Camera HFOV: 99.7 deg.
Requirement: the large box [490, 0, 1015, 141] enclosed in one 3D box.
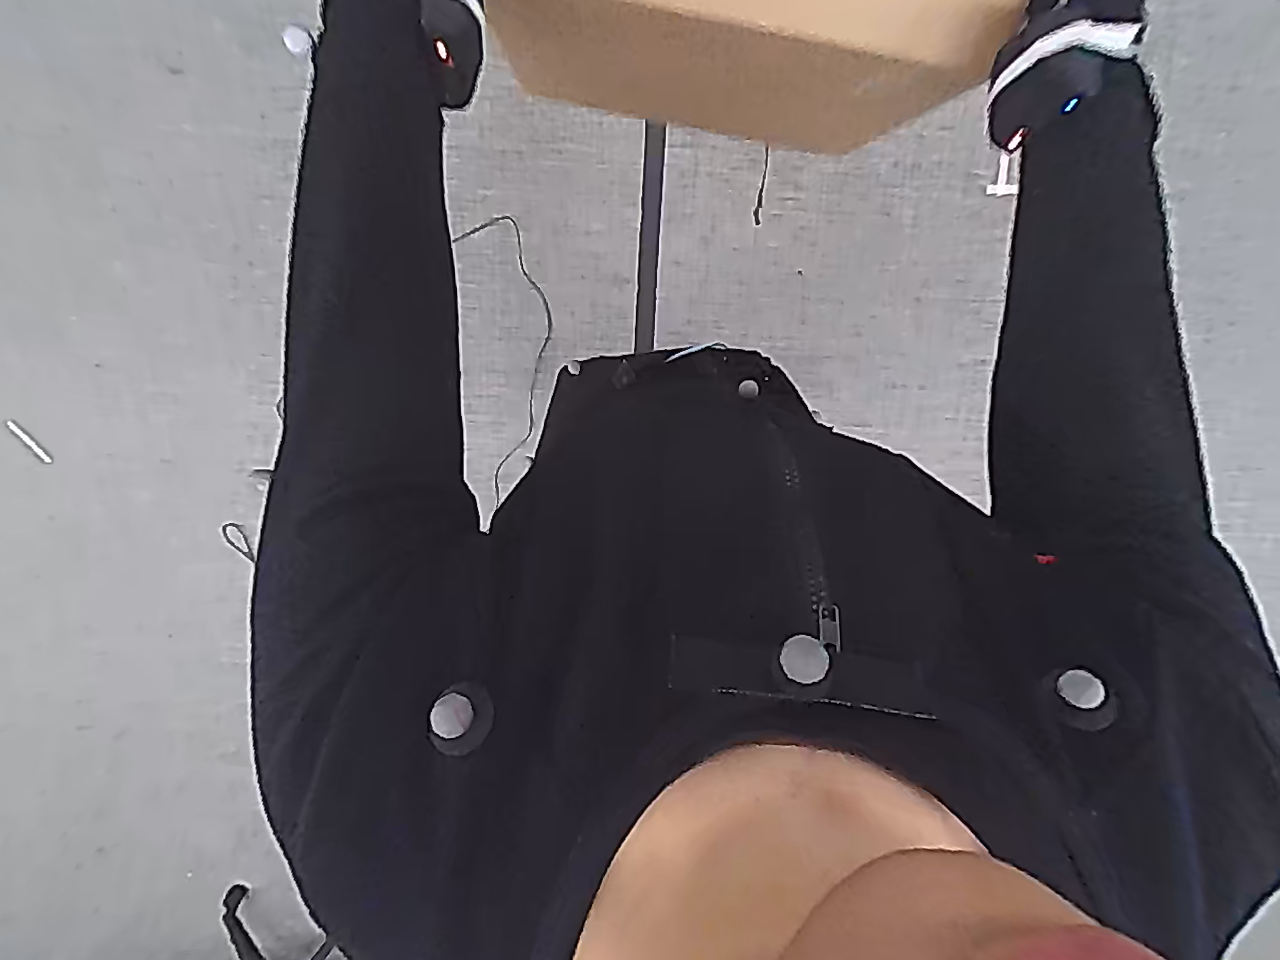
[{"bbox_3d":[0.087,-0.532,0.473,0.408,0.320,0.320,7,113,-6],"label":"large box"}]
